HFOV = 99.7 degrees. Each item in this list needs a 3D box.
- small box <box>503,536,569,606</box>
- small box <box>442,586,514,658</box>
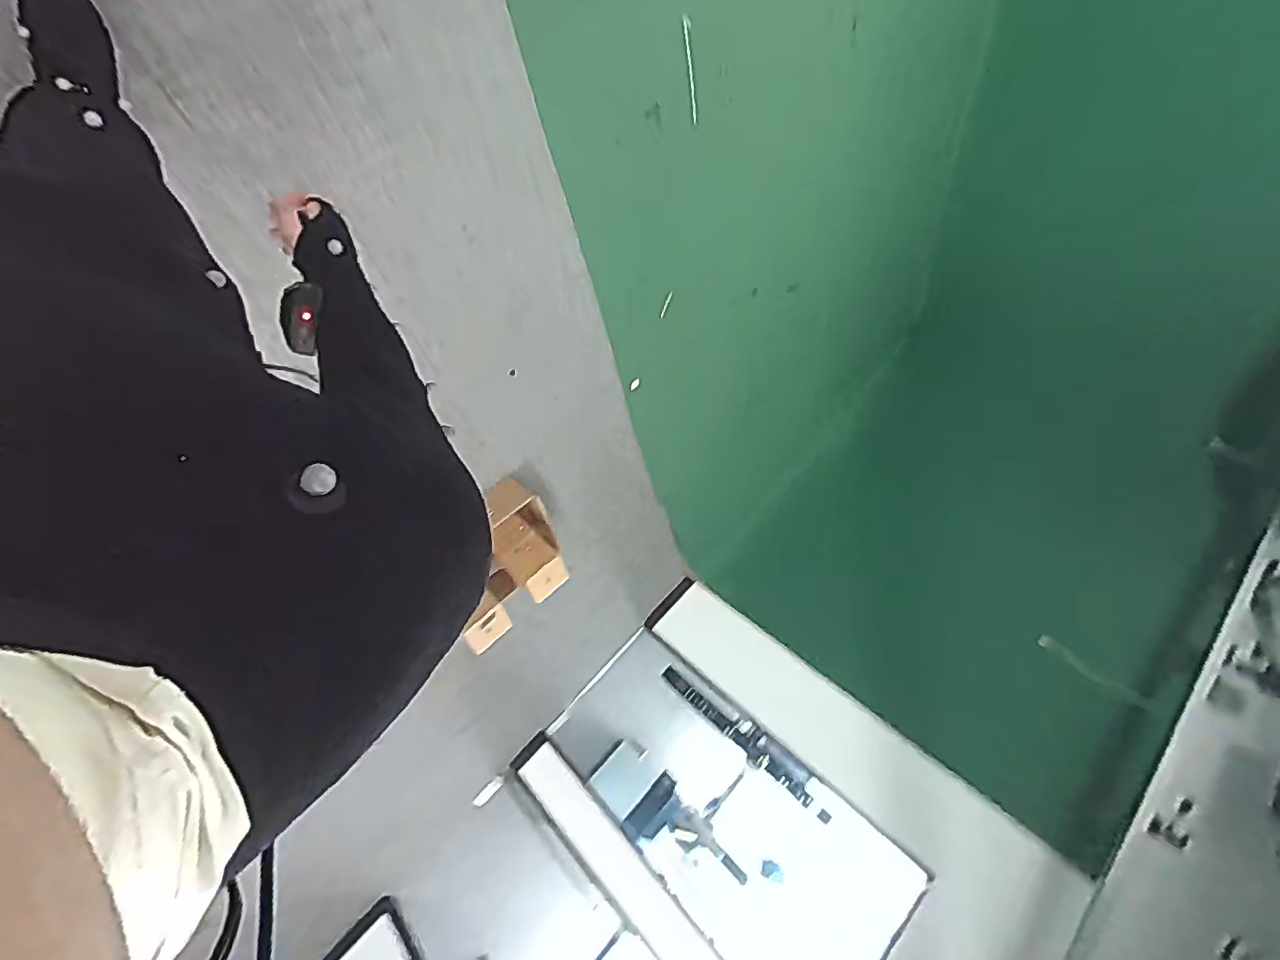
[{"bbox_3d":[-0.411,0.356,2.140,0.168,0.176,0.179,-39,144,-22],"label":"small box"},{"bbox_3d":[-0.609,0.522,2.025,0.168,0.176,0.179,-41,145,-25],"label":"small box"}]
